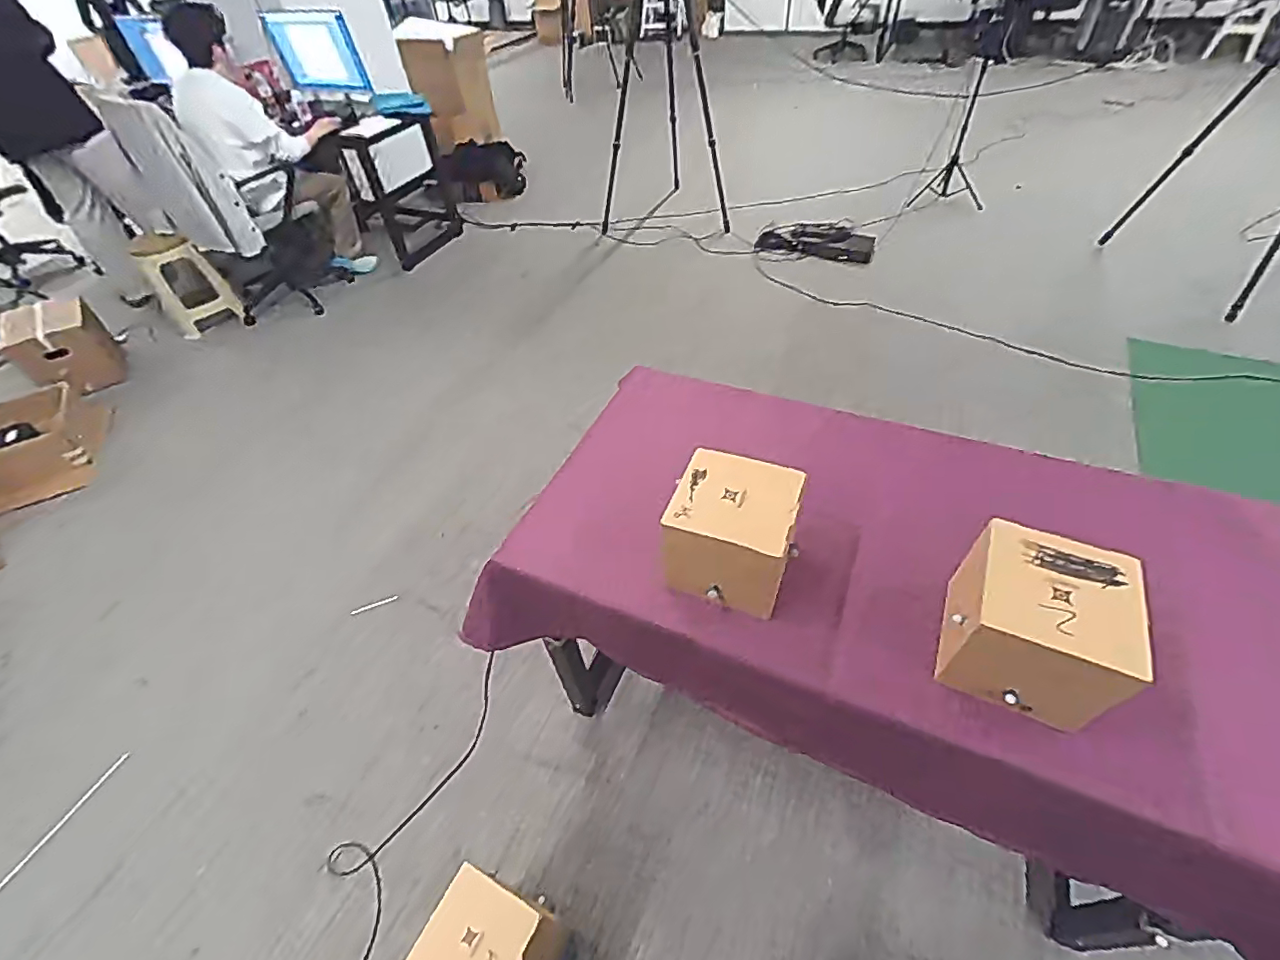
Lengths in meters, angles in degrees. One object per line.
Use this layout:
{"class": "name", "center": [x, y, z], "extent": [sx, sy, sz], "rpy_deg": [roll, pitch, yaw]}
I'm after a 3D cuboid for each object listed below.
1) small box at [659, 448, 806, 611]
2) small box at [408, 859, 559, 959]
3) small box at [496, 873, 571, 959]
{"class": "small box", "center": [0.141, 0.081, 0.843], "extent": [0.179, 0.176, 0.168], "rpy_deg": [15, 50, 17]}
{"class": "small box", "center": [-0.268, 0.825, 0.968], "extent": [0.179, 0.176, 0.168], "rpy_deg": [19, 52, 20]}
{"class": "small box", "center": [-0.254, 0.939, 1.086], "extent": [0.168, 0.176, 0.179], "rpy_deg": [17, 50, 20]}
